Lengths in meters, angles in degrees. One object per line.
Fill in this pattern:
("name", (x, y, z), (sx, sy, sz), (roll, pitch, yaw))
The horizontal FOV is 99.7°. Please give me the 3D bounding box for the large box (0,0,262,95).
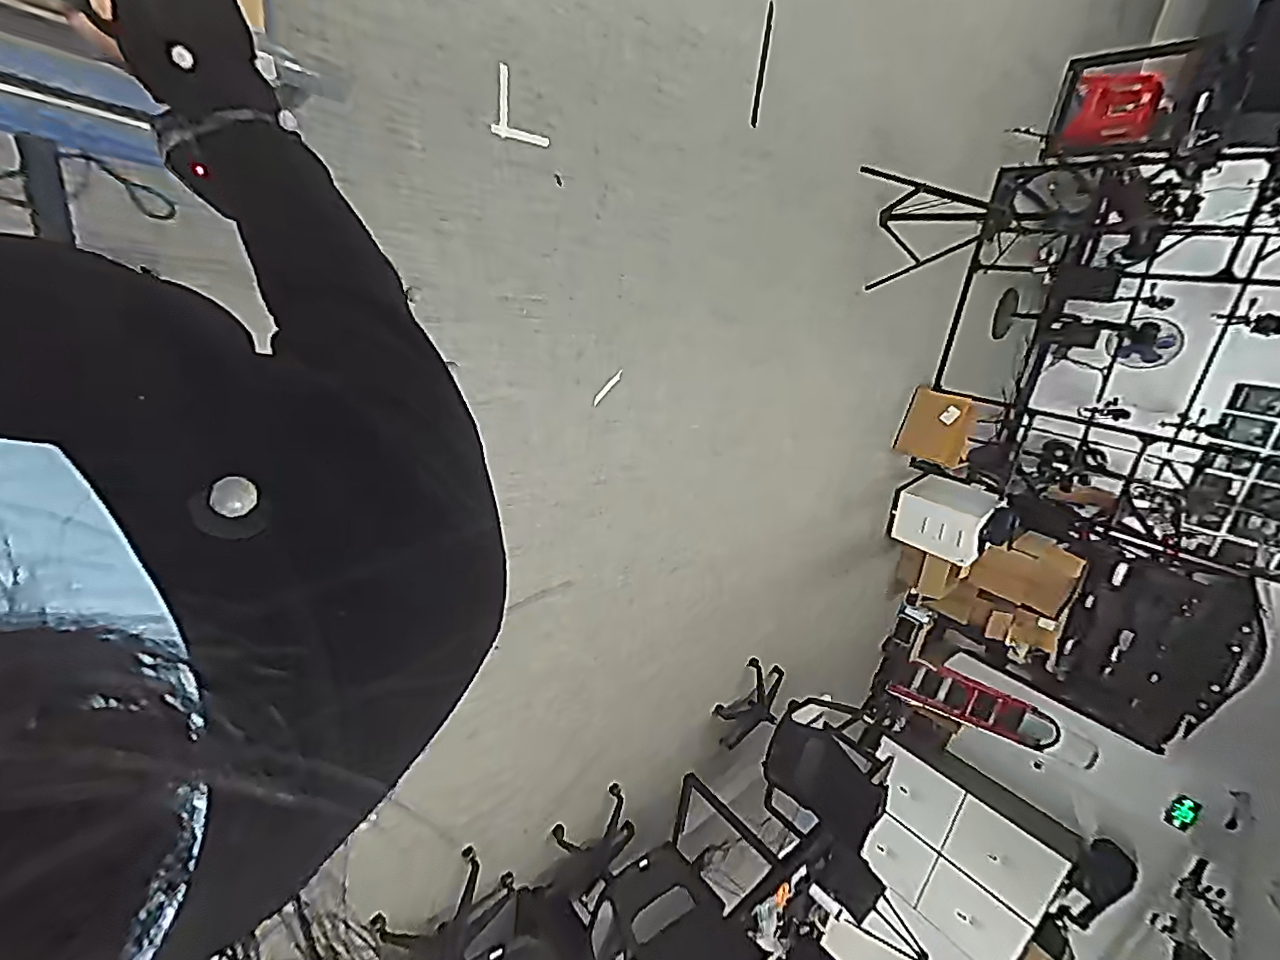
("large box", (-0.748, -0.733, 0.661), (0.408, 0.320, 0.320), (-10, 117, -42))
